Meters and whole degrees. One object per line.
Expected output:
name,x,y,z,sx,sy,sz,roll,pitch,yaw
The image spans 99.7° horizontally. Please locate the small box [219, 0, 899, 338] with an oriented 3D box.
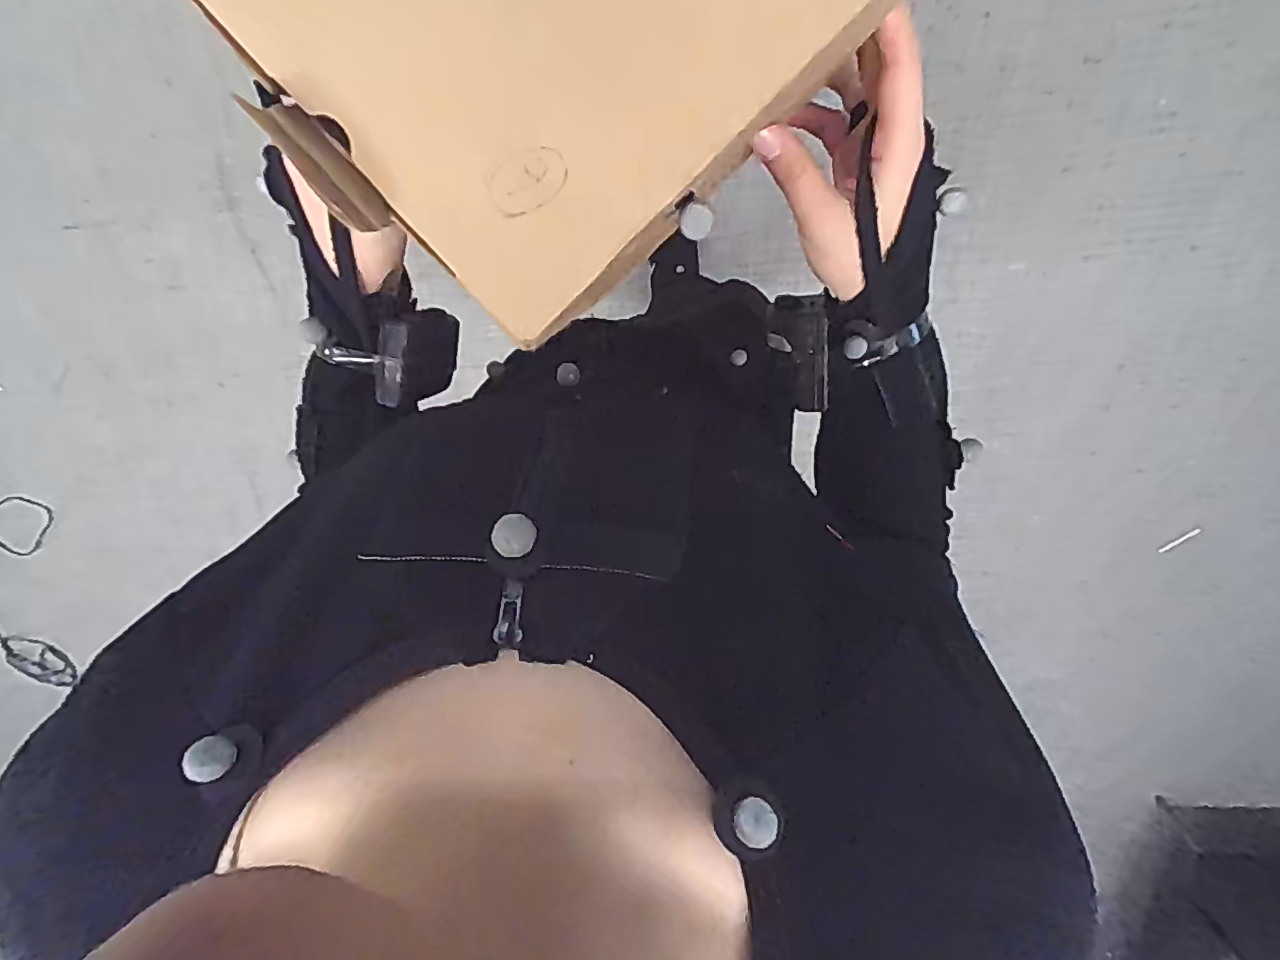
small box,-0.018,-0.189,0.224,0.179,0.176,0.168,-39,105,20
